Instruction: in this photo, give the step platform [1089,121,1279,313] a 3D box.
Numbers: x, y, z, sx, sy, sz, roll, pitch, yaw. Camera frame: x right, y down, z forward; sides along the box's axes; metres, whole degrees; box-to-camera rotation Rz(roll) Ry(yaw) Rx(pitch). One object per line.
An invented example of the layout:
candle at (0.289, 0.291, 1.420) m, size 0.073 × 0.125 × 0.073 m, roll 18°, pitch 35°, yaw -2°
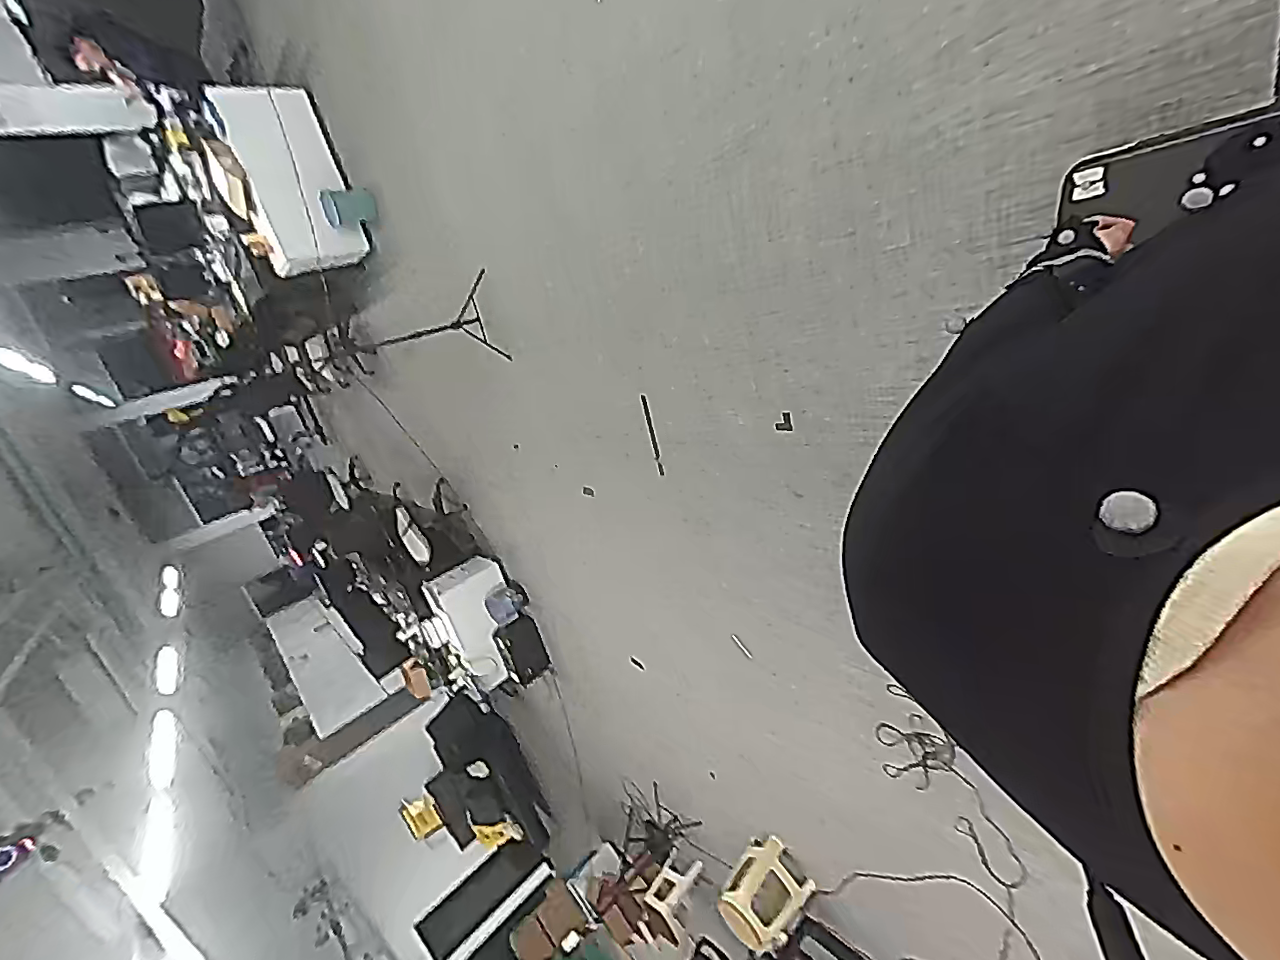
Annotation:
step platform at (1.139, -0.439, 0.839) m, size 0.684 × 0.204 × 0.286 m, roll 11°, pitch 121°, yaw 46°
